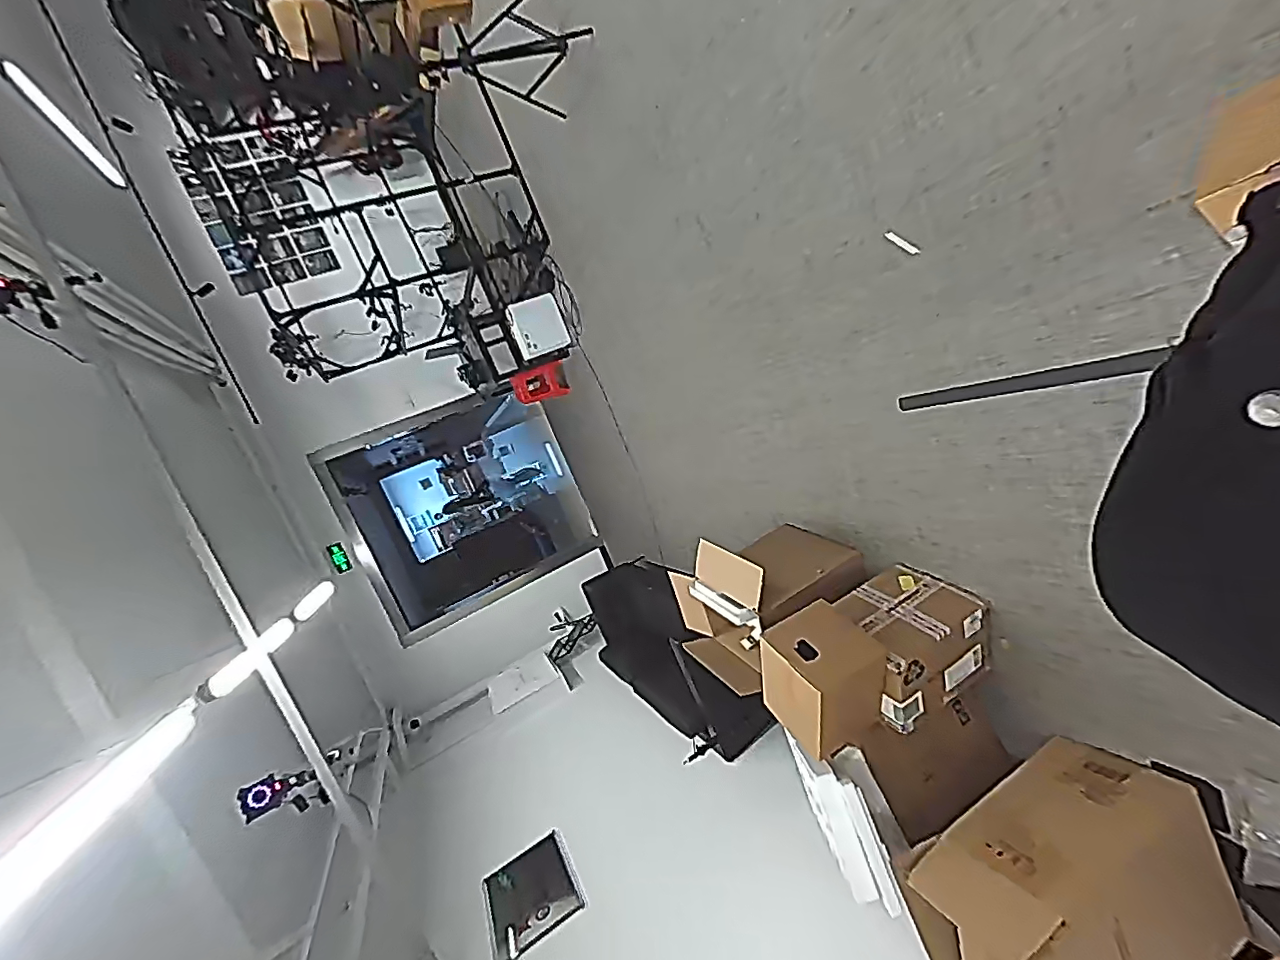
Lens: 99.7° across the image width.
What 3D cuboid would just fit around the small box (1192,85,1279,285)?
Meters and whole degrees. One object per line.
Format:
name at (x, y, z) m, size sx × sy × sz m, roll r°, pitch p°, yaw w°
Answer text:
small box at (0.766, -0.341, 0.585) m, size 0.176 × 0.179 × 0.168 m, roll 36°, pitch 163°, yaw -13°
